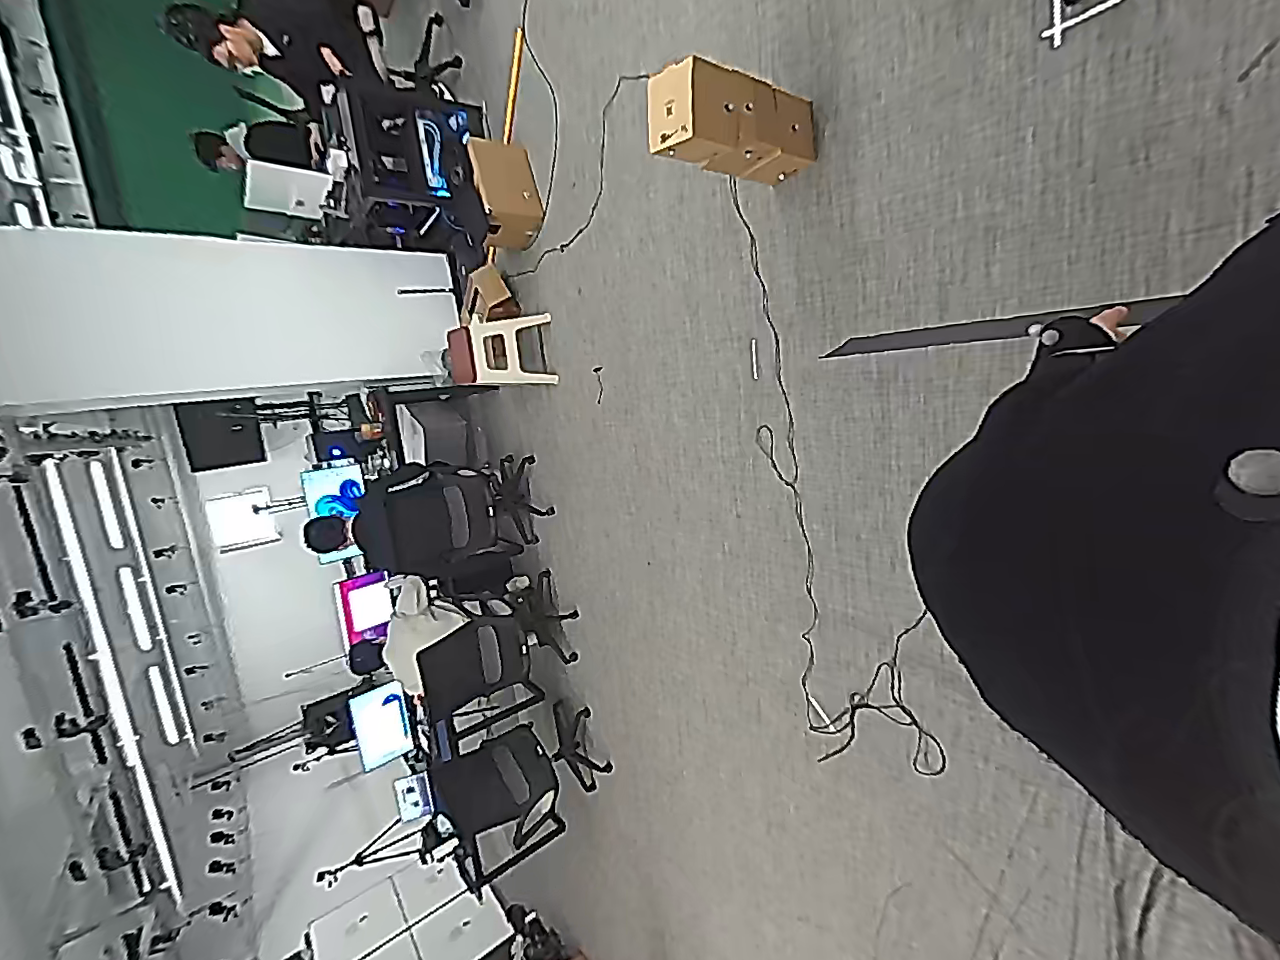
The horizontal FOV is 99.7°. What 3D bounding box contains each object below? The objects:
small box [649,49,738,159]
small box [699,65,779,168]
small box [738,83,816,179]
[{"bbox_3d":[0.140,-0.962,1.401,0.168,0.176,0.179,18,114,49],"label":"small box"},{"bbox_3d":[0.267,-0.993,1.499,0.168,0.176,0.179,-4,97,53],"label":"small box"},{"bbox_3d":[0.396,-1.019,1.594,0.168,0.176,0.179,2,103,53],"label":"small box"}]
